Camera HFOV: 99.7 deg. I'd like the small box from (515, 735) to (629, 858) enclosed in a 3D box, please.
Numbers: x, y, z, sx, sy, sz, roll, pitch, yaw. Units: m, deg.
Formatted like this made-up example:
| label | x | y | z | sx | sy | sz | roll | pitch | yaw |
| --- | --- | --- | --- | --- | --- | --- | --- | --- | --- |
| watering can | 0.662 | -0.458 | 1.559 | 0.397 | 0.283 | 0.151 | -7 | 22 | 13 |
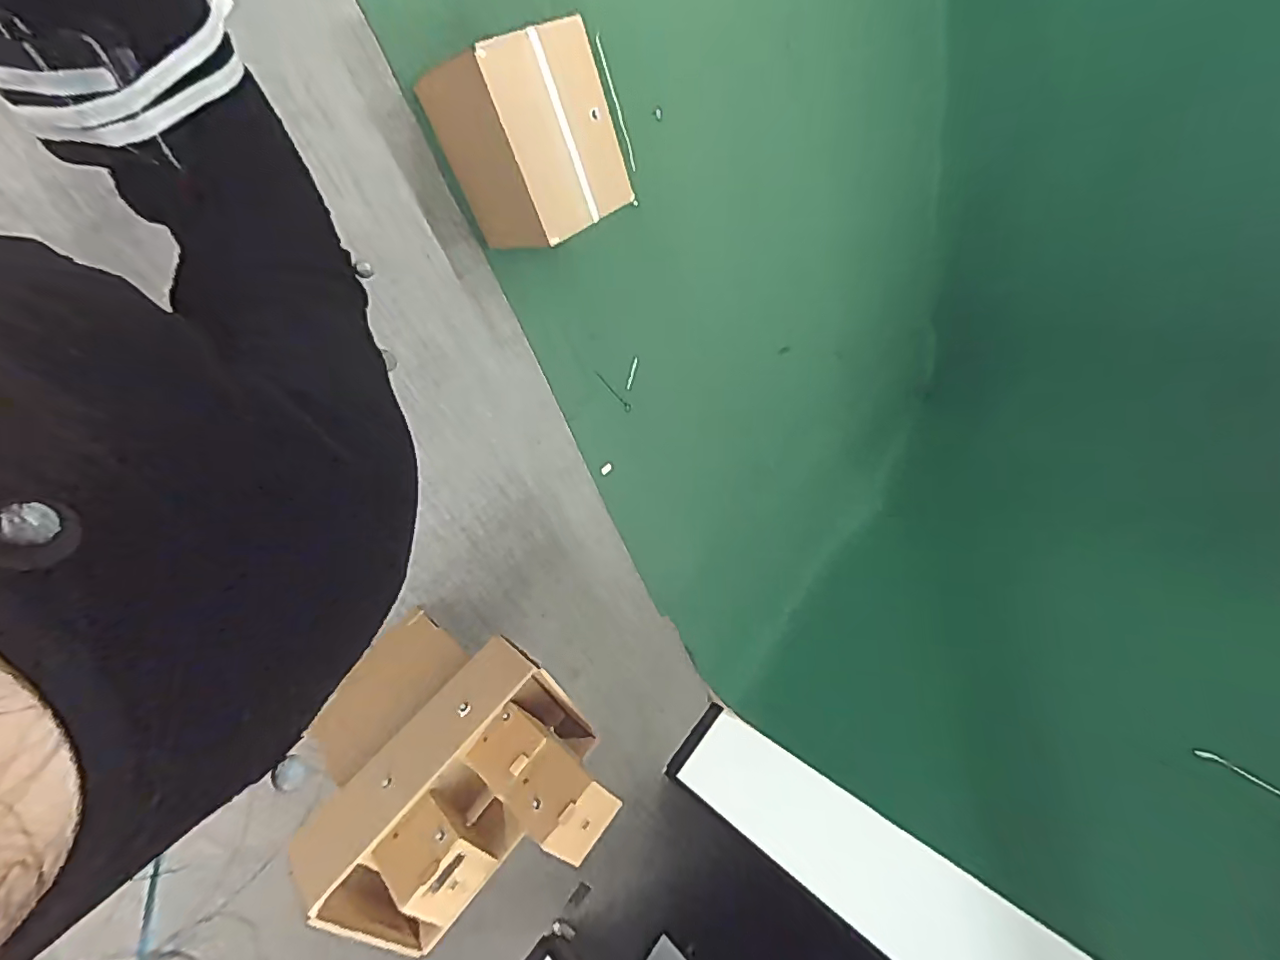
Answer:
| label | x | y | z | sx | sy | sz | roll | pitch | yaw |
| --- | --- | --- | --- | --- | --- | --- | --- | --- | --- |
| small box | -0.163 | 0.741 | 1.280 | 0.168 | 0.176 | 0.179 | -46 | 133 | -20 |
